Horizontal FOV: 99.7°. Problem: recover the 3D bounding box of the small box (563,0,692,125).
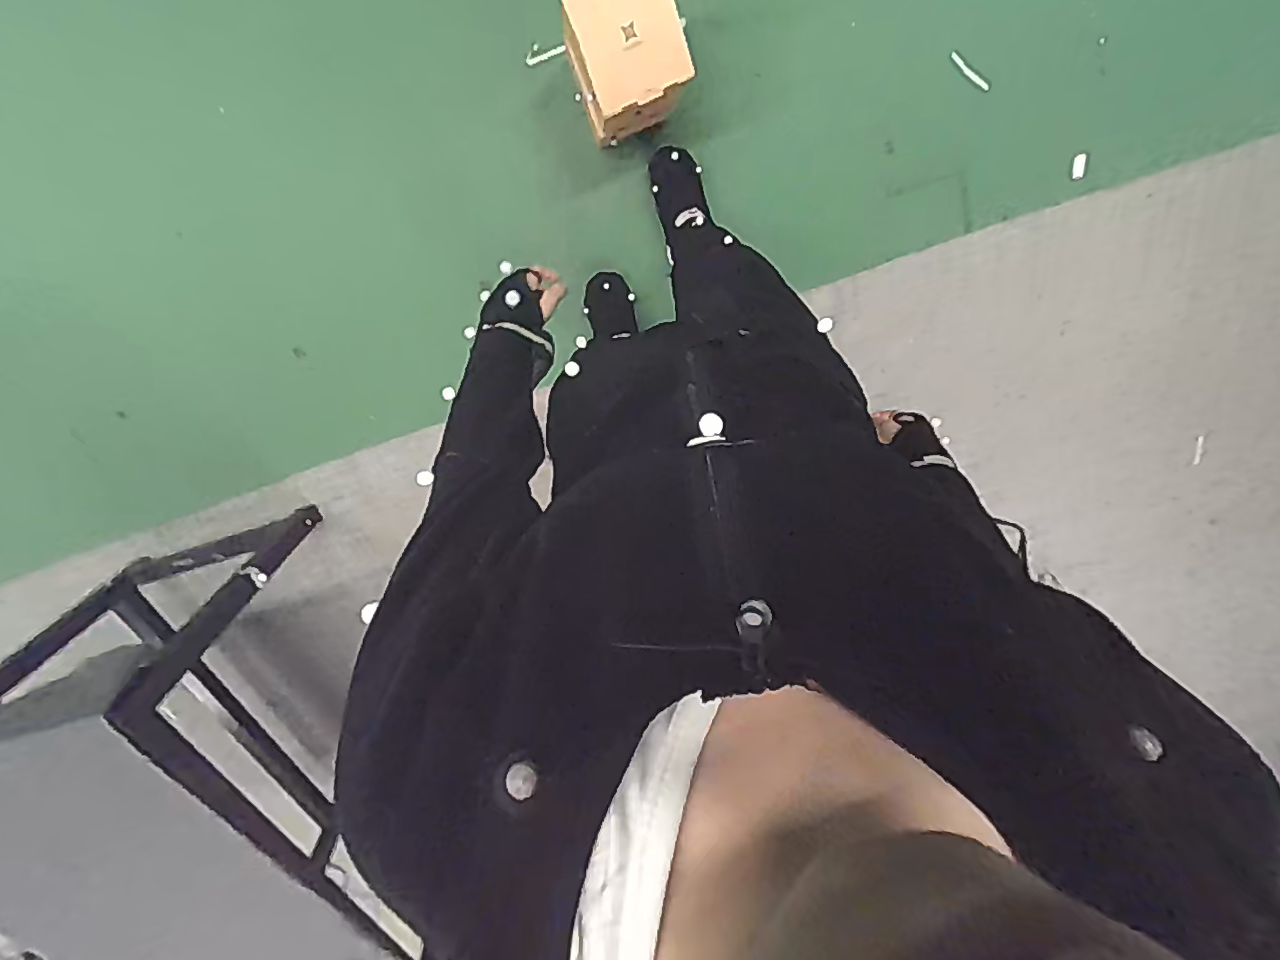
[{"bbox_3d":[-0.027,-0.743,0.924,0.168,0.176,0.179,-22,116,5],"label":"small box"}]
